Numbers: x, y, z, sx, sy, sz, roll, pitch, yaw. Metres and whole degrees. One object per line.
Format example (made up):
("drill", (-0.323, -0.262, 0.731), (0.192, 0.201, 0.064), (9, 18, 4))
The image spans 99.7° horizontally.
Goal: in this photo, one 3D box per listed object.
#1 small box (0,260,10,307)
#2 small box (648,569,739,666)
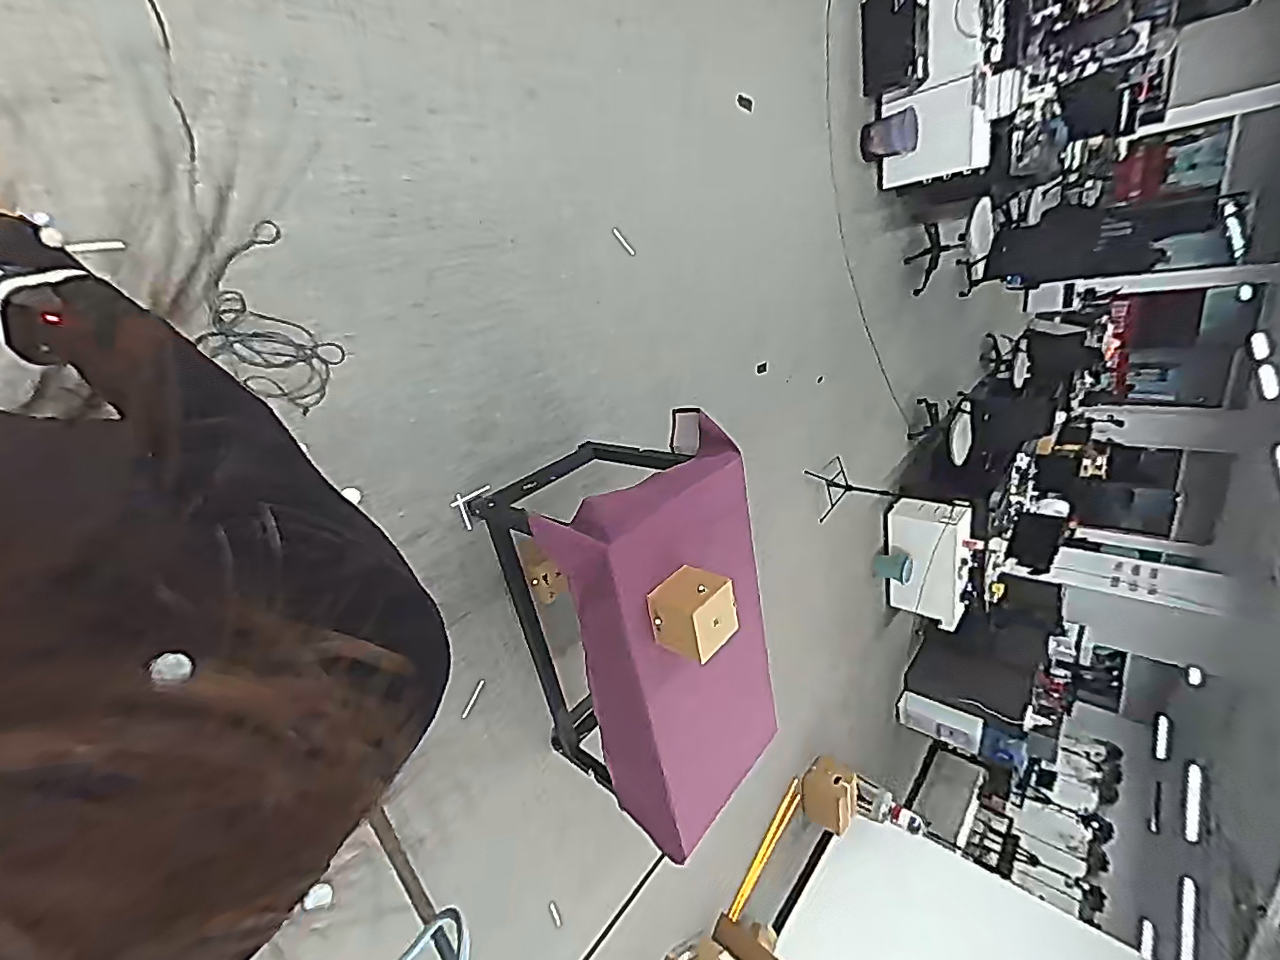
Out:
("small box", (-0.730, -0.244, 0.492), (0.179, 0.176, 0.168), (-17, 113, -50))
("small box", (0.147, 0.366, 1.477), (0.179, 0.176, 0.168), (-30, 118, -39))
